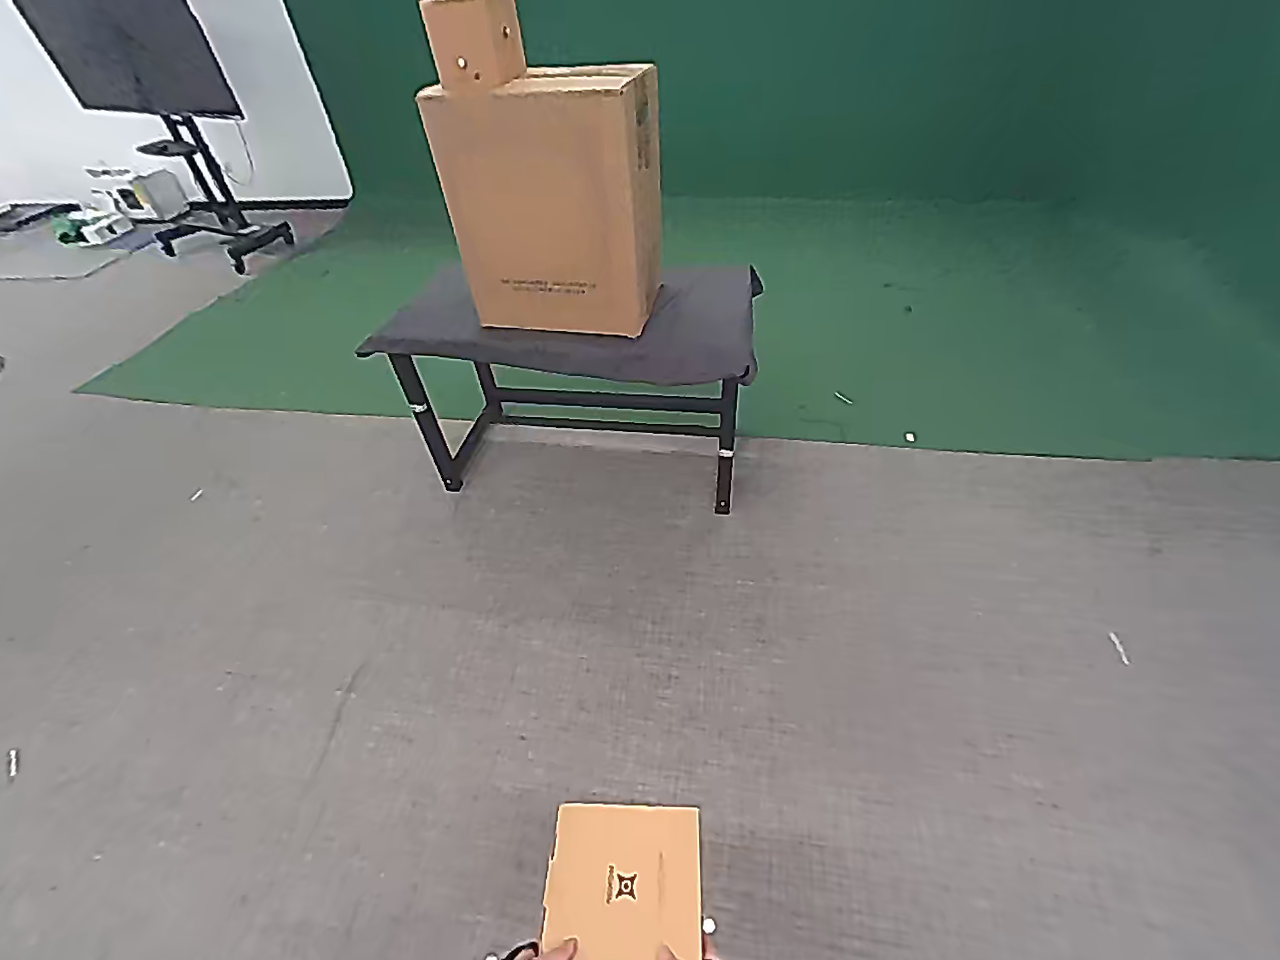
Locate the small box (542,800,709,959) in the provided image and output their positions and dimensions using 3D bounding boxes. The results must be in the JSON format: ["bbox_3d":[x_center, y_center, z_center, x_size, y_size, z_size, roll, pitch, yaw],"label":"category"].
[{"bbox_3d":[-0.008,0.513,0.662,0.179,0.176,0.168,0,43,3],"label":"small box"}]

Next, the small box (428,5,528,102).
[{"bbox_3d":[-0.395,-1.072,1.361,0.168,0.176,0.179,6,47,13],"label":"small box"}]
